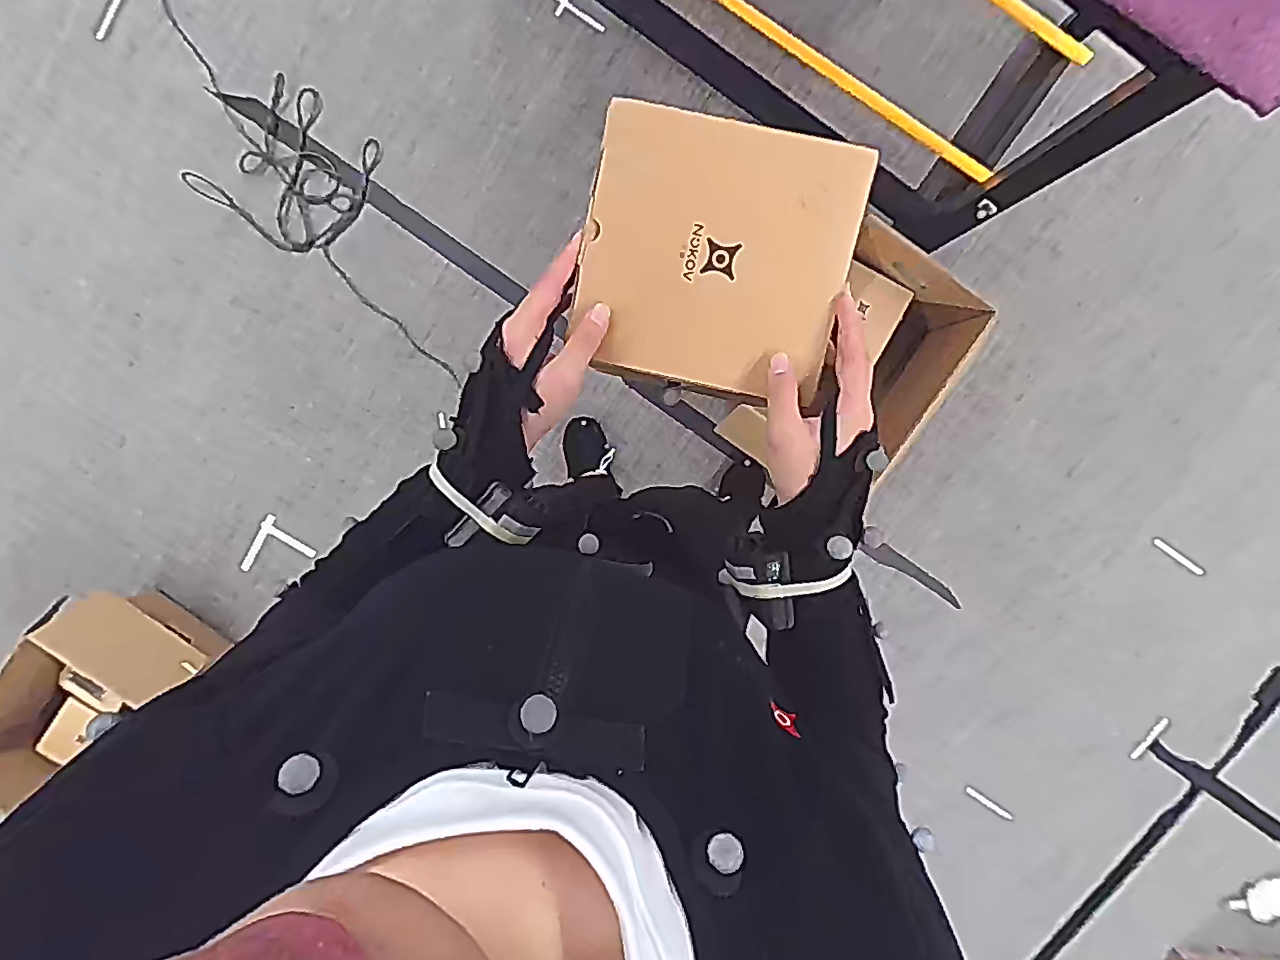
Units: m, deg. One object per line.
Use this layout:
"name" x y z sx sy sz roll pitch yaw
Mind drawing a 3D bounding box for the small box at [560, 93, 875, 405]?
"small box" 0.051 -0.160 0.431 0.179 0.176 0.168 13 99 2
